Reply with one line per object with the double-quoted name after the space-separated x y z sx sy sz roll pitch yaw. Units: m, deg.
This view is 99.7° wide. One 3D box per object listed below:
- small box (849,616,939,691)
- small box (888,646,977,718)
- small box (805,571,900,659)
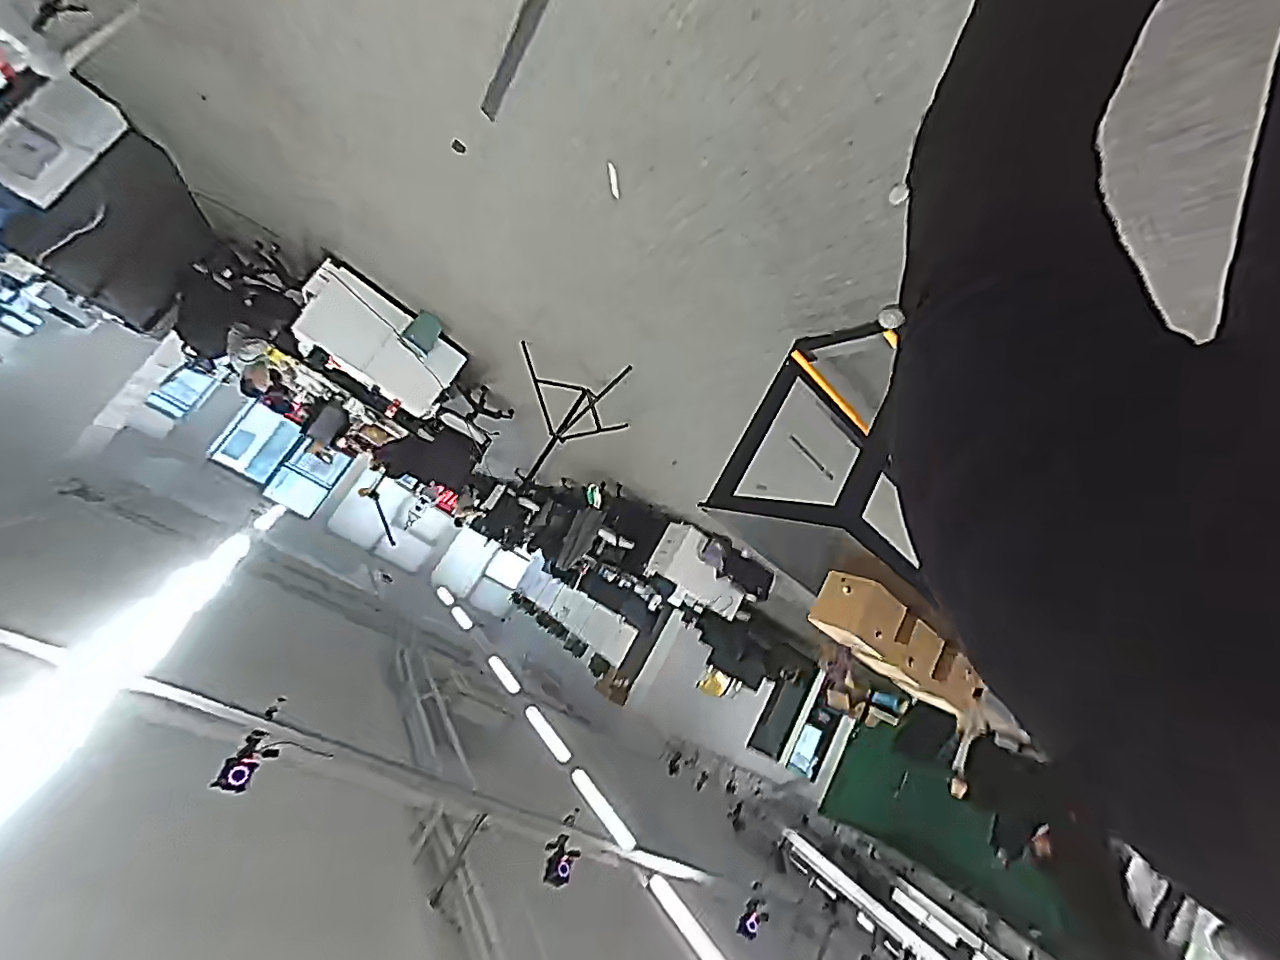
0.800 0.525 1.700 0.179 0.176 0.168 37 166 -27 "small box"
0.965 0.644 1.783 0.168 0.176 0.179 36 165 -25 "small box"
0.629 0.393 1.591 0.179 0.176 0.168 38 165 -26 "small box"
